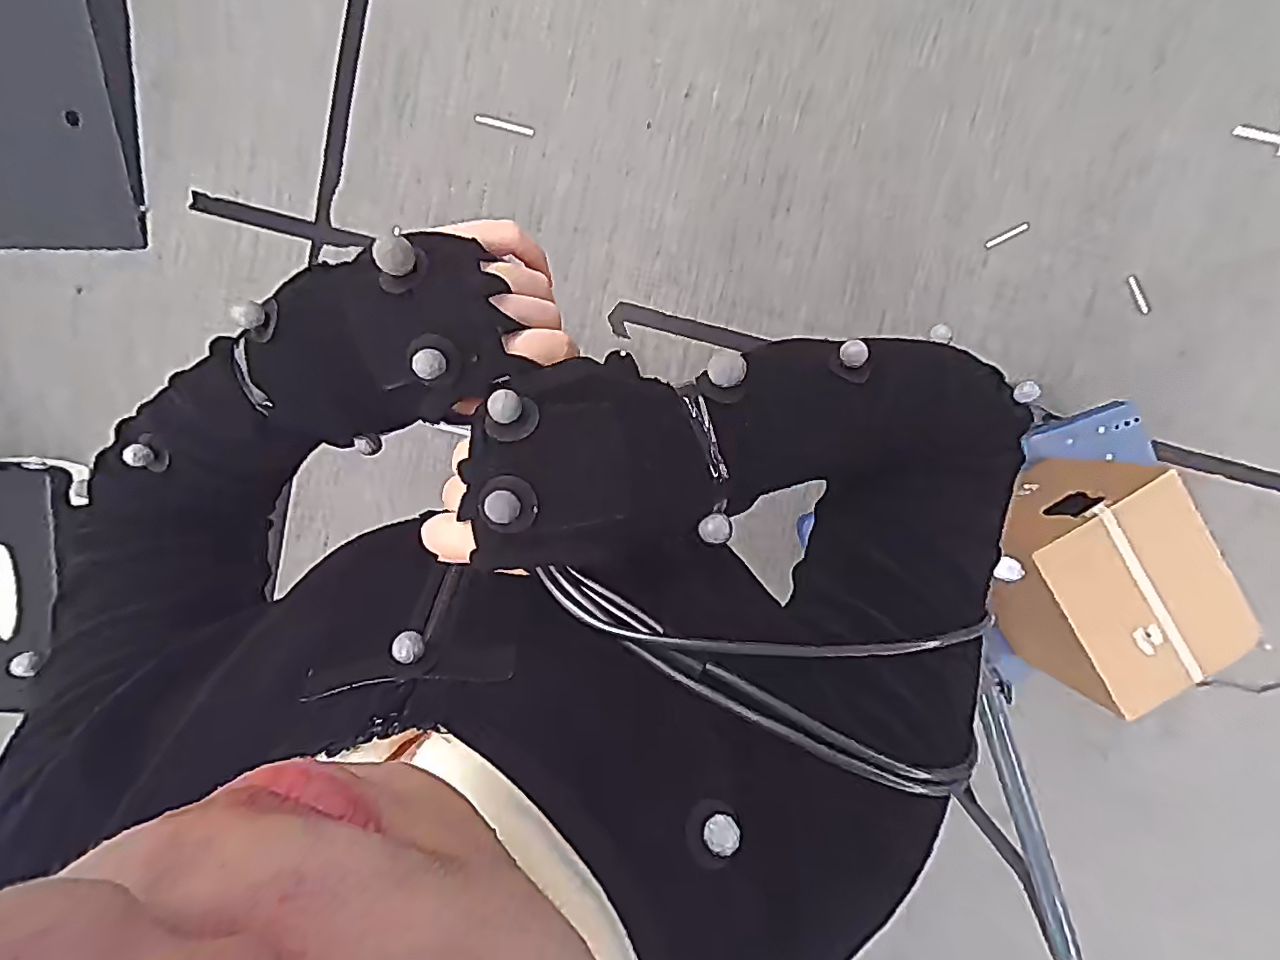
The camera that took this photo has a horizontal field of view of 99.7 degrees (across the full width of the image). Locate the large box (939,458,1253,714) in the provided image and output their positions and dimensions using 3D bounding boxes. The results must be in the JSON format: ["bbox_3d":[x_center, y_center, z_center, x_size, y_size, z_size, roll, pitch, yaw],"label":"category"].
[{"bbox_3d":[0.961,0.203,1.188,0.320,0.320,0.408,-32,96,3],"label":"large box"}]
